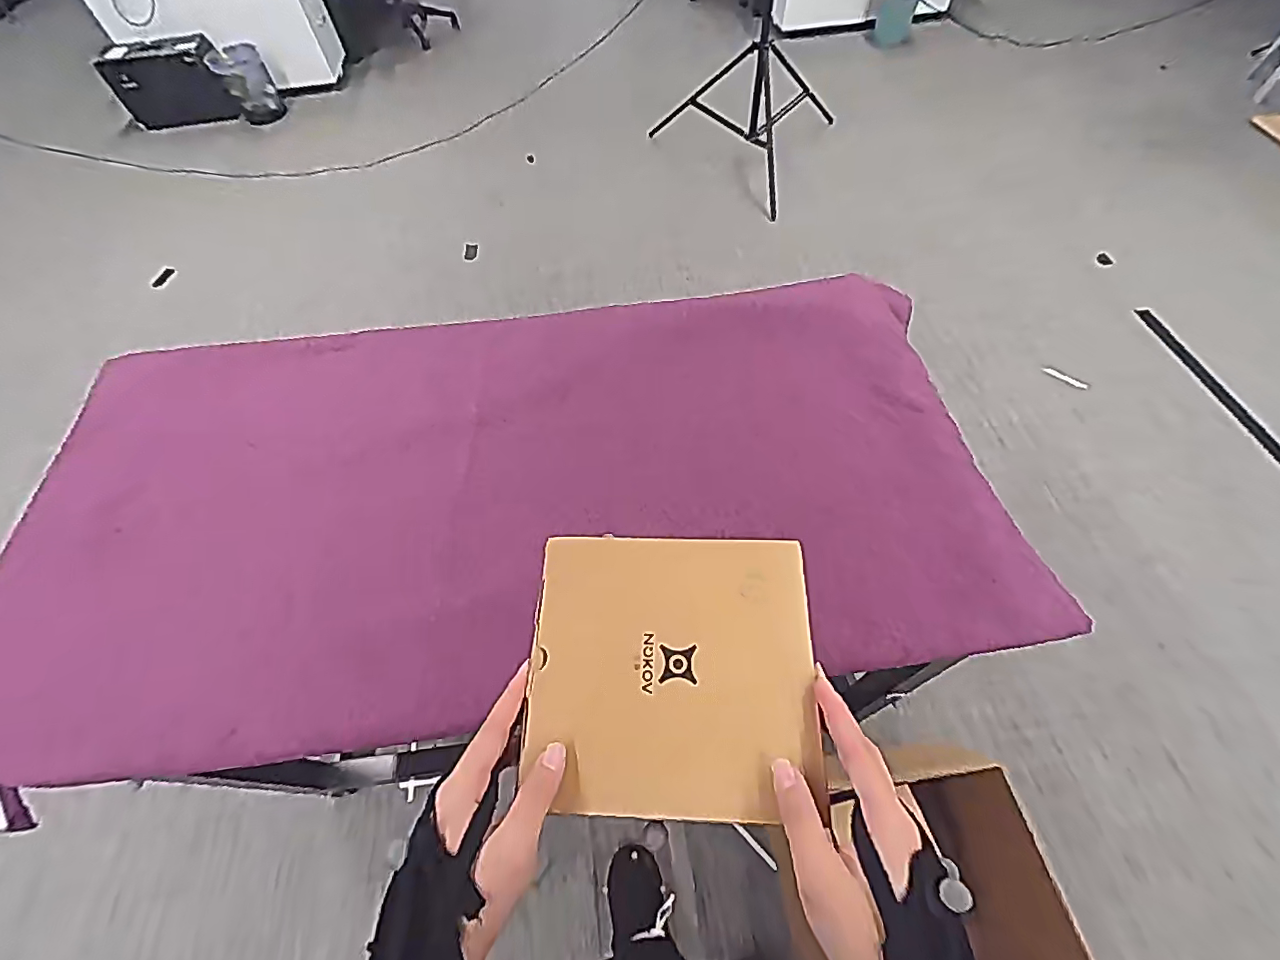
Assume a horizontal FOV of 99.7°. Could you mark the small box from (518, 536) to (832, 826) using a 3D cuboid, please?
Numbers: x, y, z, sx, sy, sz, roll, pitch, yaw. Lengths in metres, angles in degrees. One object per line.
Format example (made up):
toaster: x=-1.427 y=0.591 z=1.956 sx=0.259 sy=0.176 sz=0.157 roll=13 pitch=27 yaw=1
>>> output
small box: x=0.025 y=0.150 z=0.403 sx=0.179 sy=0.176 sz=0.168 roll=0 pitch=61 yaw=4
